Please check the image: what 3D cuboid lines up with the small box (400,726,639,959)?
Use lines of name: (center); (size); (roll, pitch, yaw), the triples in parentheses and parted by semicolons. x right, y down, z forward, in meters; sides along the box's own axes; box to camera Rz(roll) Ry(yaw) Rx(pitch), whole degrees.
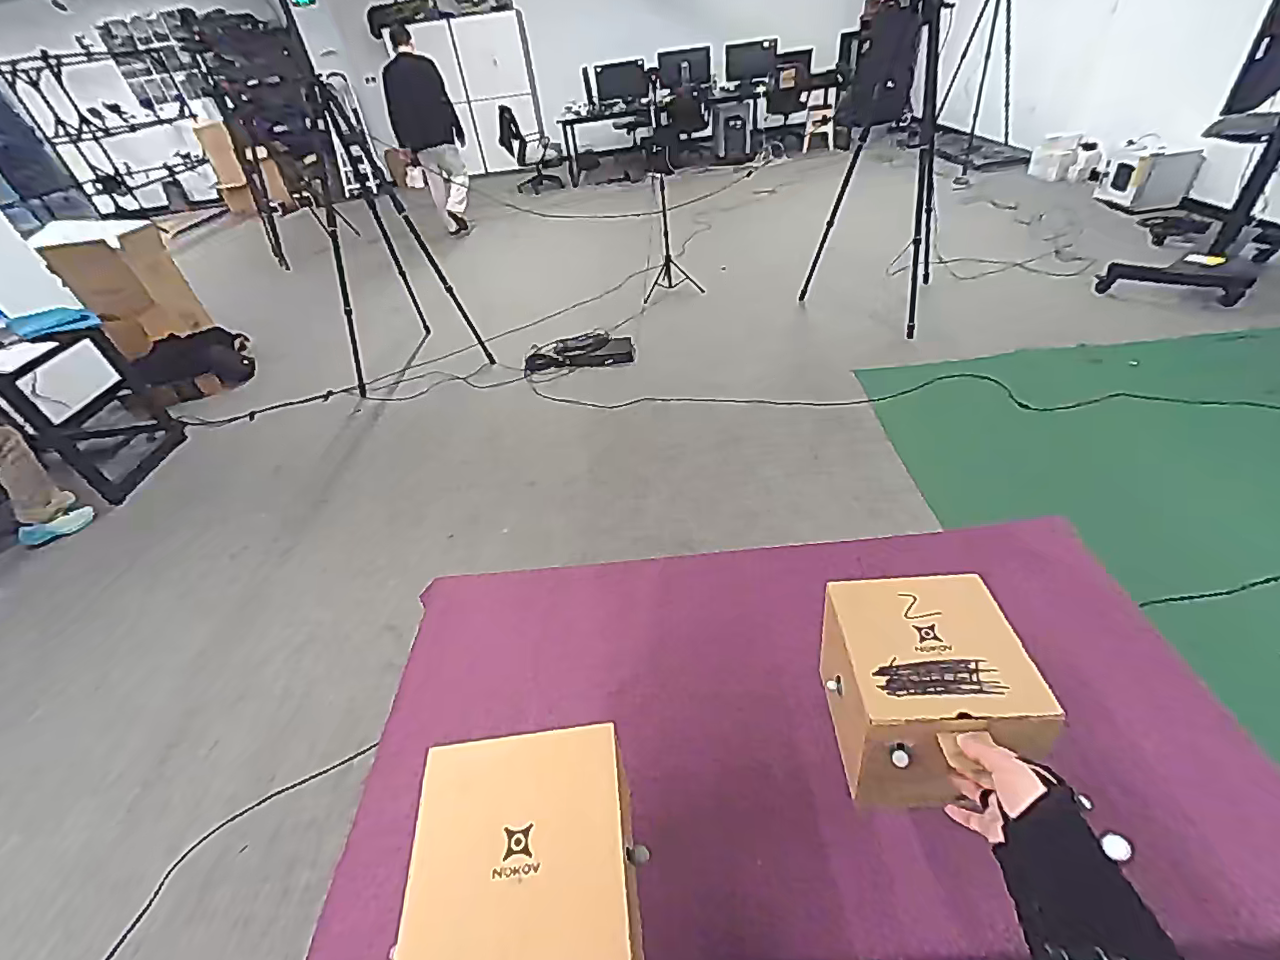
small box: (-0.093, 0.351, 0.487); (0.168, 0.176, 0.179); (-7, 44, -2)
